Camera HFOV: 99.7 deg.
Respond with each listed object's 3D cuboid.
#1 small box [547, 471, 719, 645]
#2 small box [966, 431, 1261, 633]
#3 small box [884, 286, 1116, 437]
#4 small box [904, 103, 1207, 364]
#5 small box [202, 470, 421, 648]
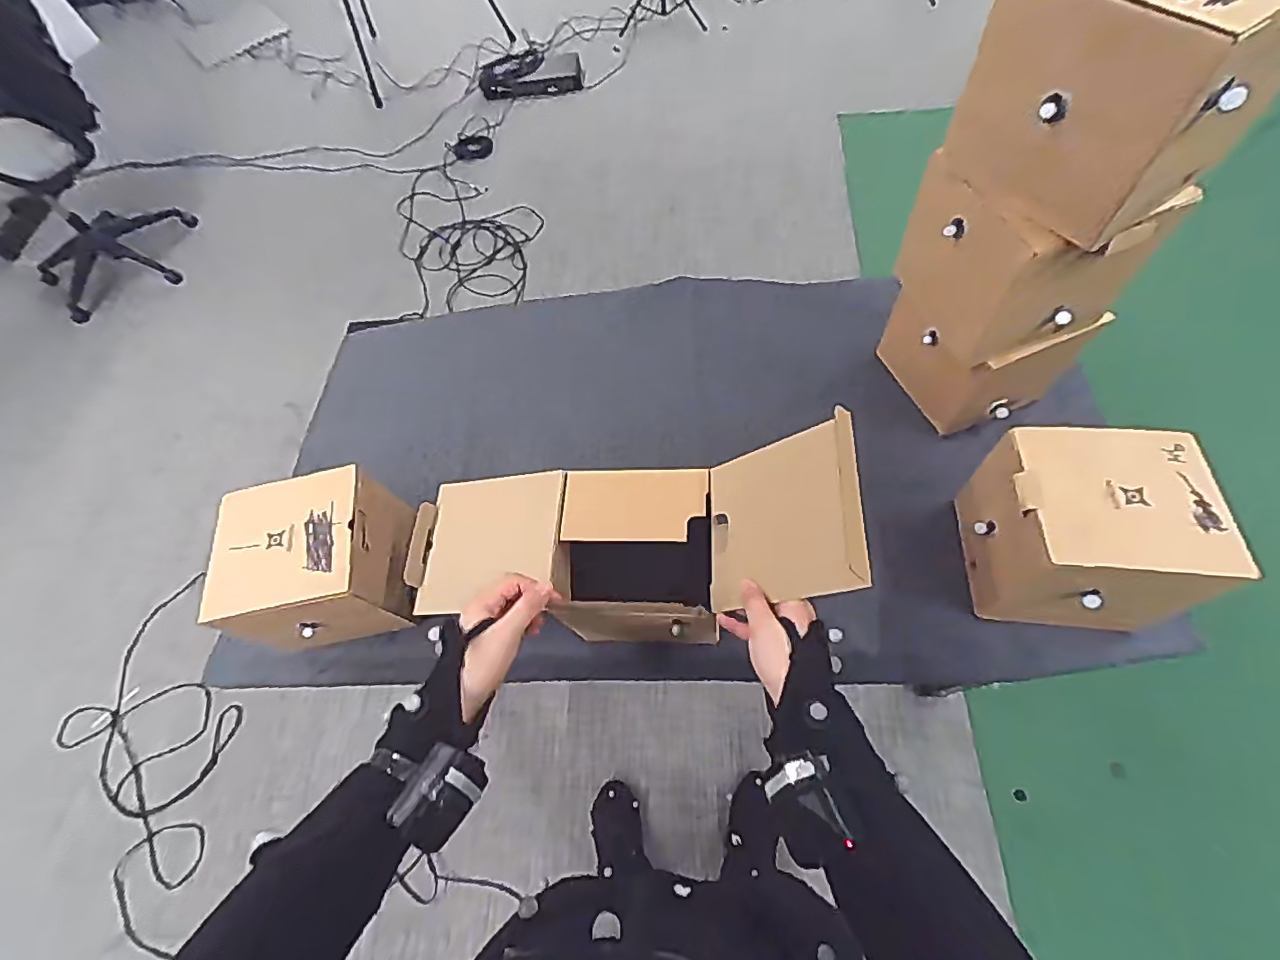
[{"bbox_3d":[0.004,0.101,0.652,0.179,0.176,0.168,-1,64,8],"label":"small box"},{"bbox_3d":[0.488,0.062,0.601,0.179,0.176,0.168,3,59,10],"label":"small box"},{"bbox_3d":[0.467,-0.190,0.740,0.168,0.176,0.179,-22,64,-1],"label":"small box"},{"bbox_3d":[0.424,-0.263,0.597,0.168,0.176,0.179,-19,62,1],"label":"small box"},{"bbox_3d":[-0.402,0.109,0.699,0.179,0.176,0.168,-12,63,2],"label":"small box"}]
